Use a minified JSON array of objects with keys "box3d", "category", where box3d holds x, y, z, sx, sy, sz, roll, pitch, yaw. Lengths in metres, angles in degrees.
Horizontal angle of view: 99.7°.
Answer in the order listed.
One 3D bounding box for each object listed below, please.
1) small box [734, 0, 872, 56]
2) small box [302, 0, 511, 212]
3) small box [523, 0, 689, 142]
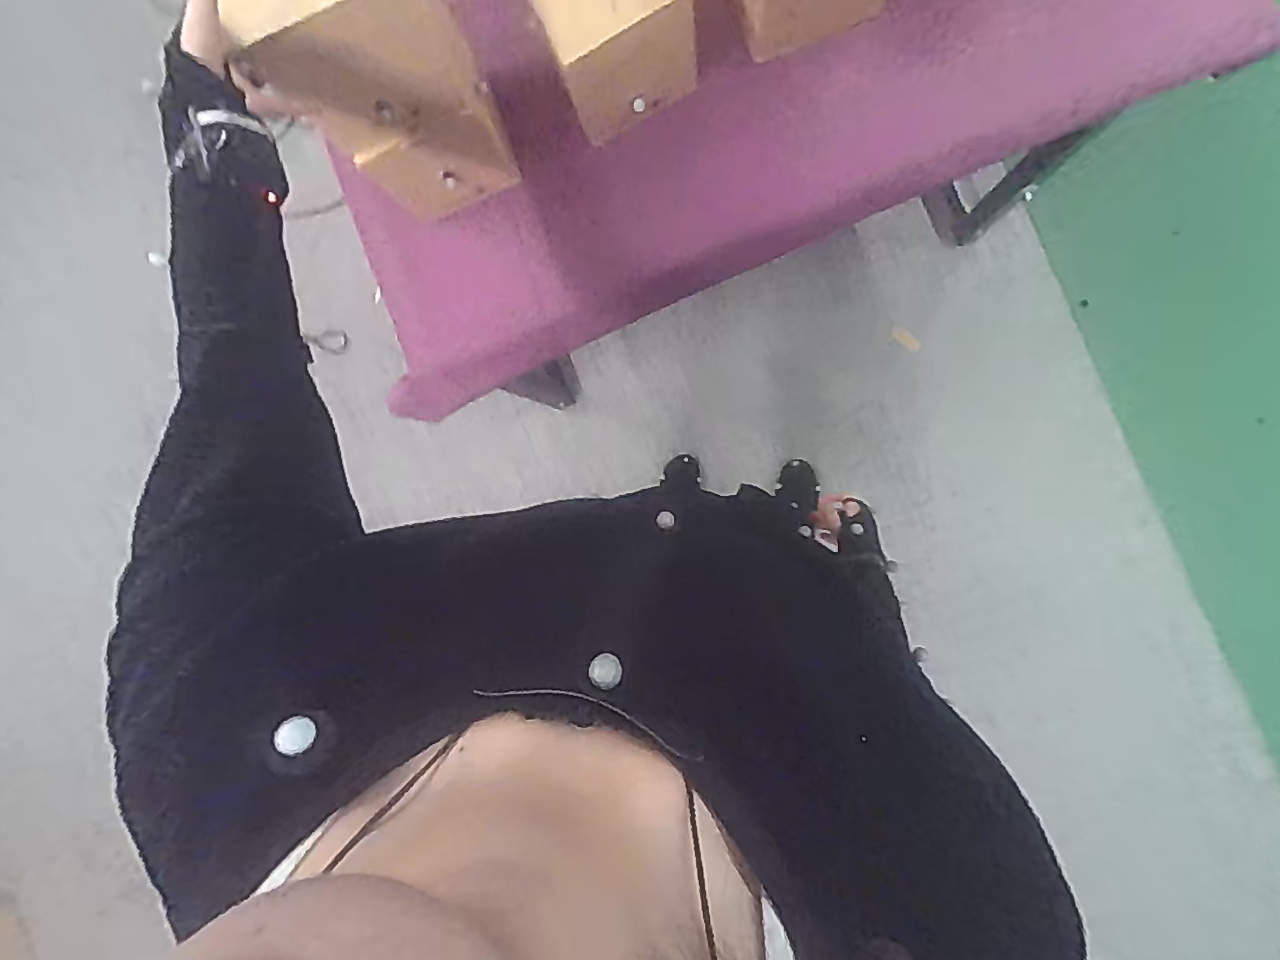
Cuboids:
[{"box3d":[0.196,-0.670,0.651,0.179,0.176,0.168,-18,90,8],"category":"small box"},{"box3d":[-0.295,-0.488,0.721,0.168,0.176,0.179,-20,90,8],"category":"small box"},{"box3d":[-0.047,-0.585,0.685,0.168,0.176,0.179,-25,89,8],"category":"small box"}]
